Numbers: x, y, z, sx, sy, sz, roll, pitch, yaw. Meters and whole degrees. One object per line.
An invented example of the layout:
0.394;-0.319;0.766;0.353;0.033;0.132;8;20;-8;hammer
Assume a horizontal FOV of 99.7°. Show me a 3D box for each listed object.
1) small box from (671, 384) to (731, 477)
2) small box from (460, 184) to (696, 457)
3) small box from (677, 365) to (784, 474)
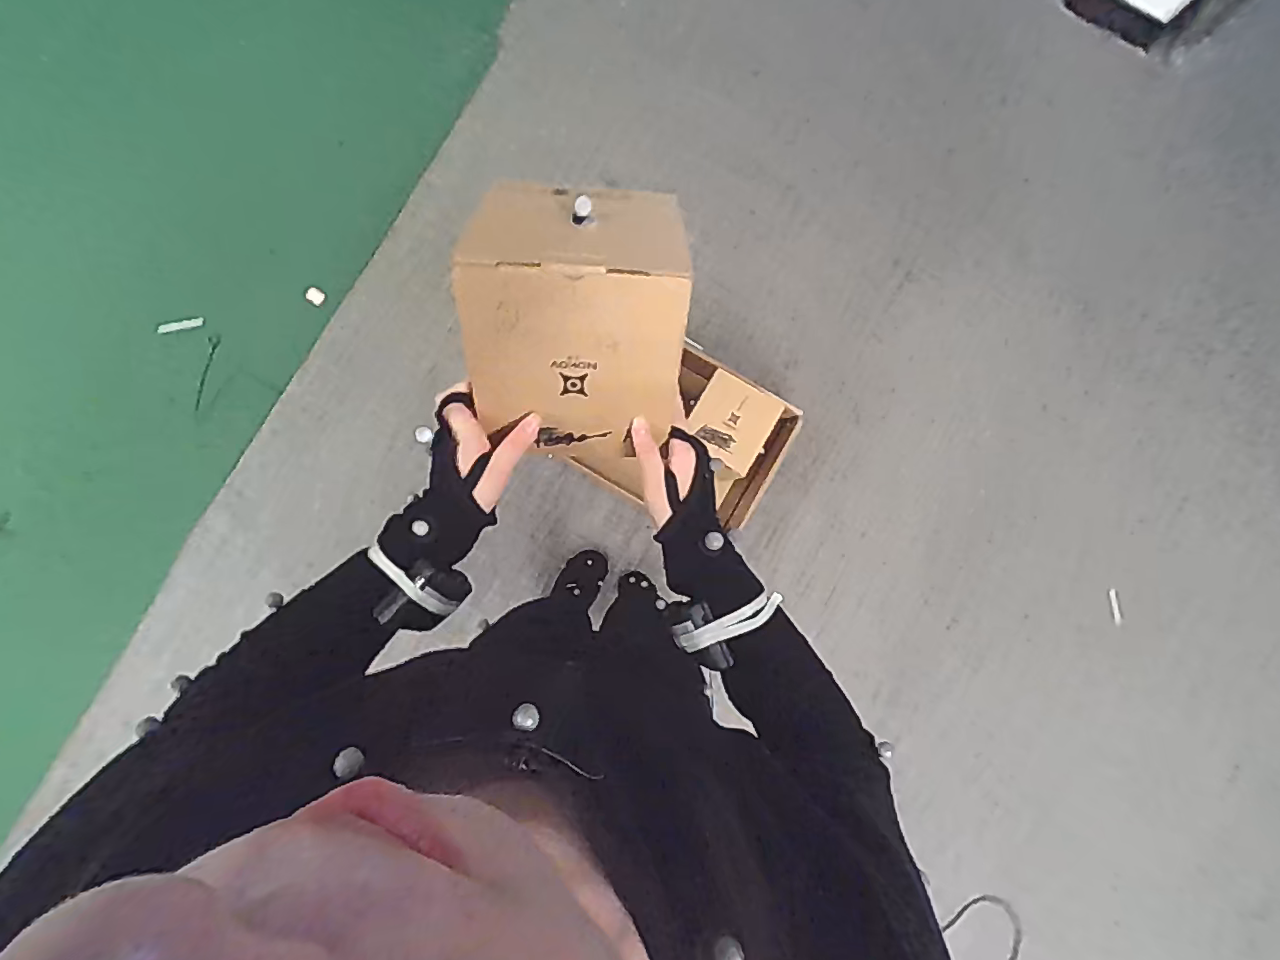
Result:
0.190;-0.119;1.379;0.168;0.176;0.179;31;88;0;small box
-0.051;-0.143;0.483;0.168;0.179;0.176;3;46;-4;small box
0.193;-0.125;1.214;0.168;0.176;0.179;31;88;0;small box
